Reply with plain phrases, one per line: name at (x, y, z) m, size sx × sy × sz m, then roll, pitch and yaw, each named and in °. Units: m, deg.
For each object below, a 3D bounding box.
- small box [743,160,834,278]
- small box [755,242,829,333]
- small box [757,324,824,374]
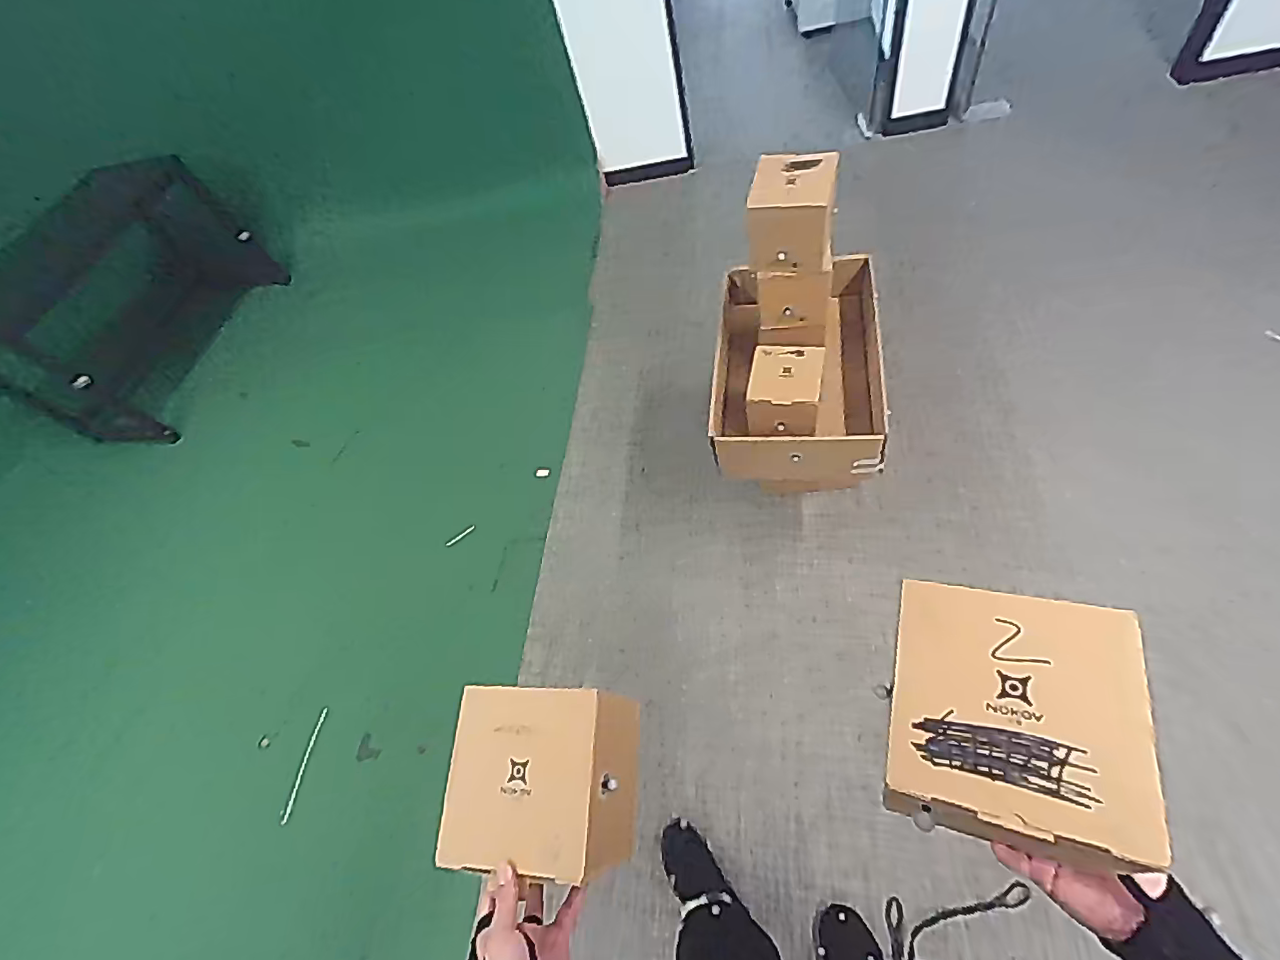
small box at (0.330, -0.577, 1.203) m, size 0.168 × 0.176 × 0.179 m, roll 8°, pitch 63°, yaw 20°
small box at (0.371, -0.490, 1.337) m, size 0.168 × 0.176 × 0.179 m, roll -1°, pitch 60°, yaw 15°
small box at (0.409, -0.410, 1.473) m, size 0.168 × 0.176 × 0.179 m, roll -1°, pitch 60°, yaw 16°
